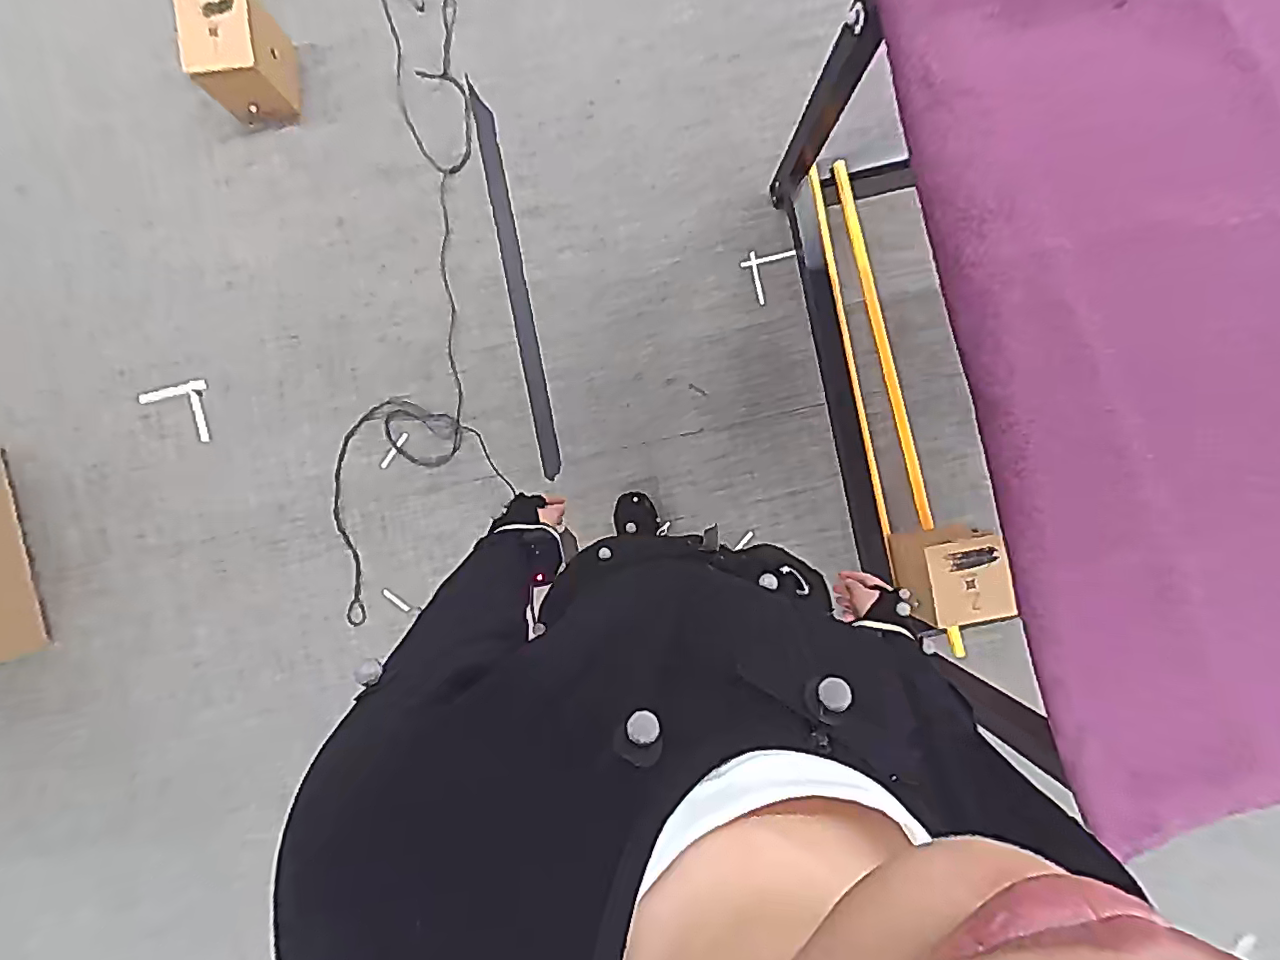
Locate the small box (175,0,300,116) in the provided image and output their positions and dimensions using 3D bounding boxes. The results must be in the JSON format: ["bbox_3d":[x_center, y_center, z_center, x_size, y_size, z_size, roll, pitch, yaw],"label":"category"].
[{"bbox_3d":[-0.933,-0.997,1.266,0.168,0.176,0.179,-5,92,1],"label":"small box"}]
